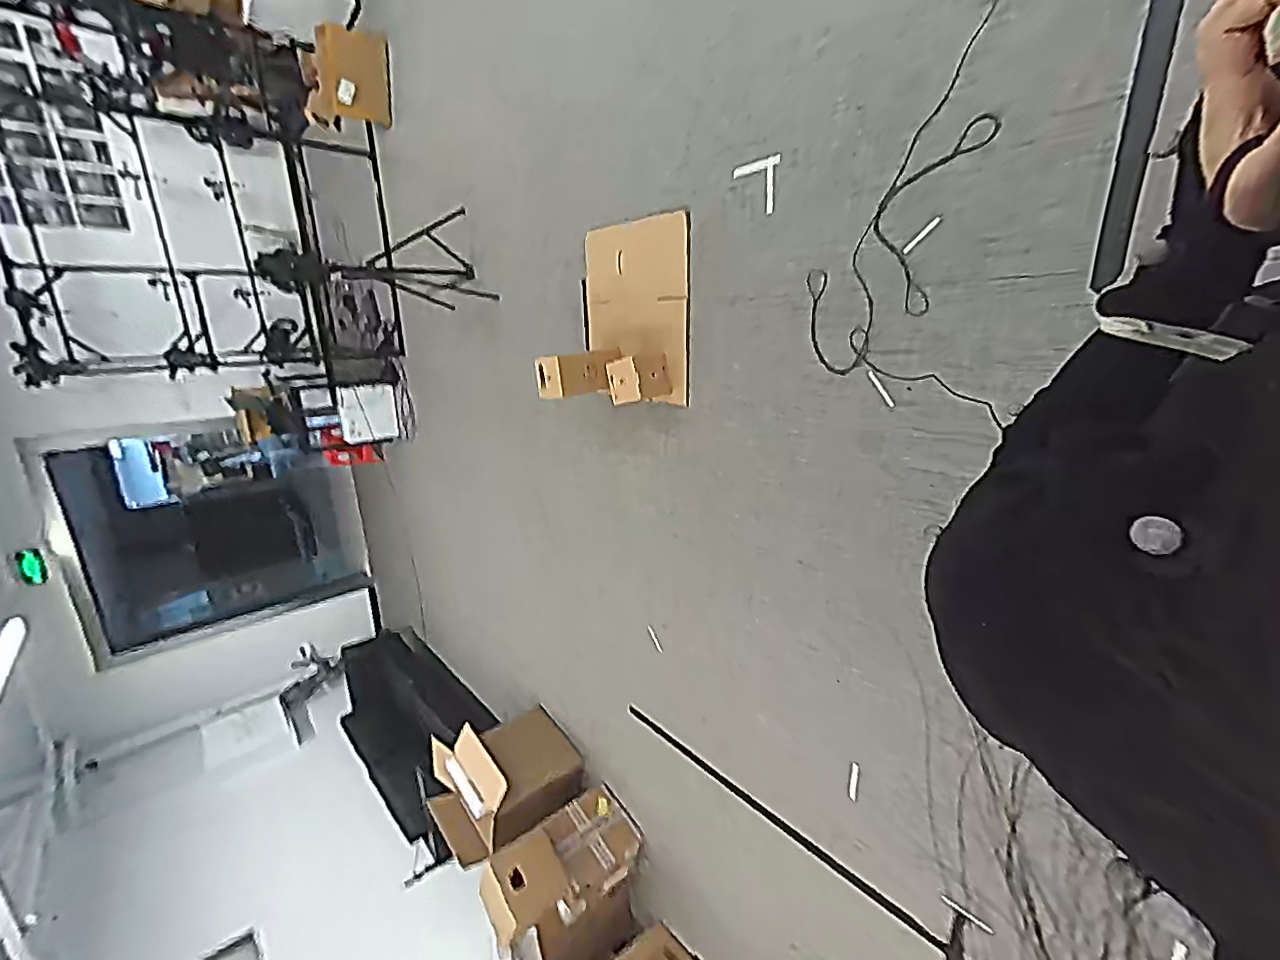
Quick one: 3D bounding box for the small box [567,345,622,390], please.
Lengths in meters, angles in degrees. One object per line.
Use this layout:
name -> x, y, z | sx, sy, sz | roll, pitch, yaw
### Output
small box -> -0.191, -0.483, 2.328 | 0.179, 0.176, 0.168 | 4, 106, 49

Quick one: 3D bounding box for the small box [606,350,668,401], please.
small box -> -0.006, -0.411, 2.129 | 0.179, 0.176, 0.168 | -2, 101, 49
